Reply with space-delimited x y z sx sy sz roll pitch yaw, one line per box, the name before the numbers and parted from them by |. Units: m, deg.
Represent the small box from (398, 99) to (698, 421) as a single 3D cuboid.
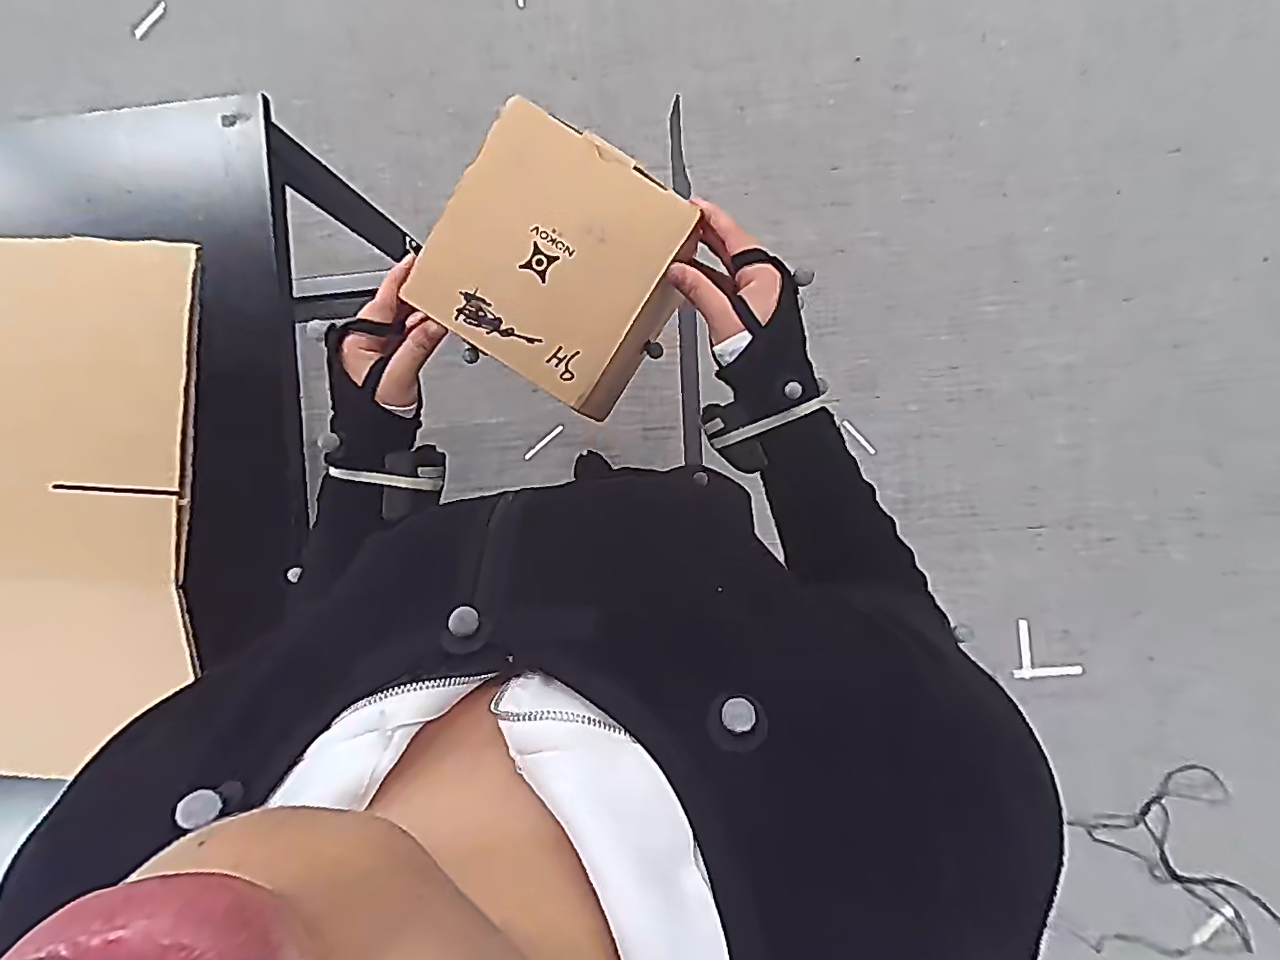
small box | -0.067 -0.171 0.482 0.168 0.176 0.179 33 93 2
